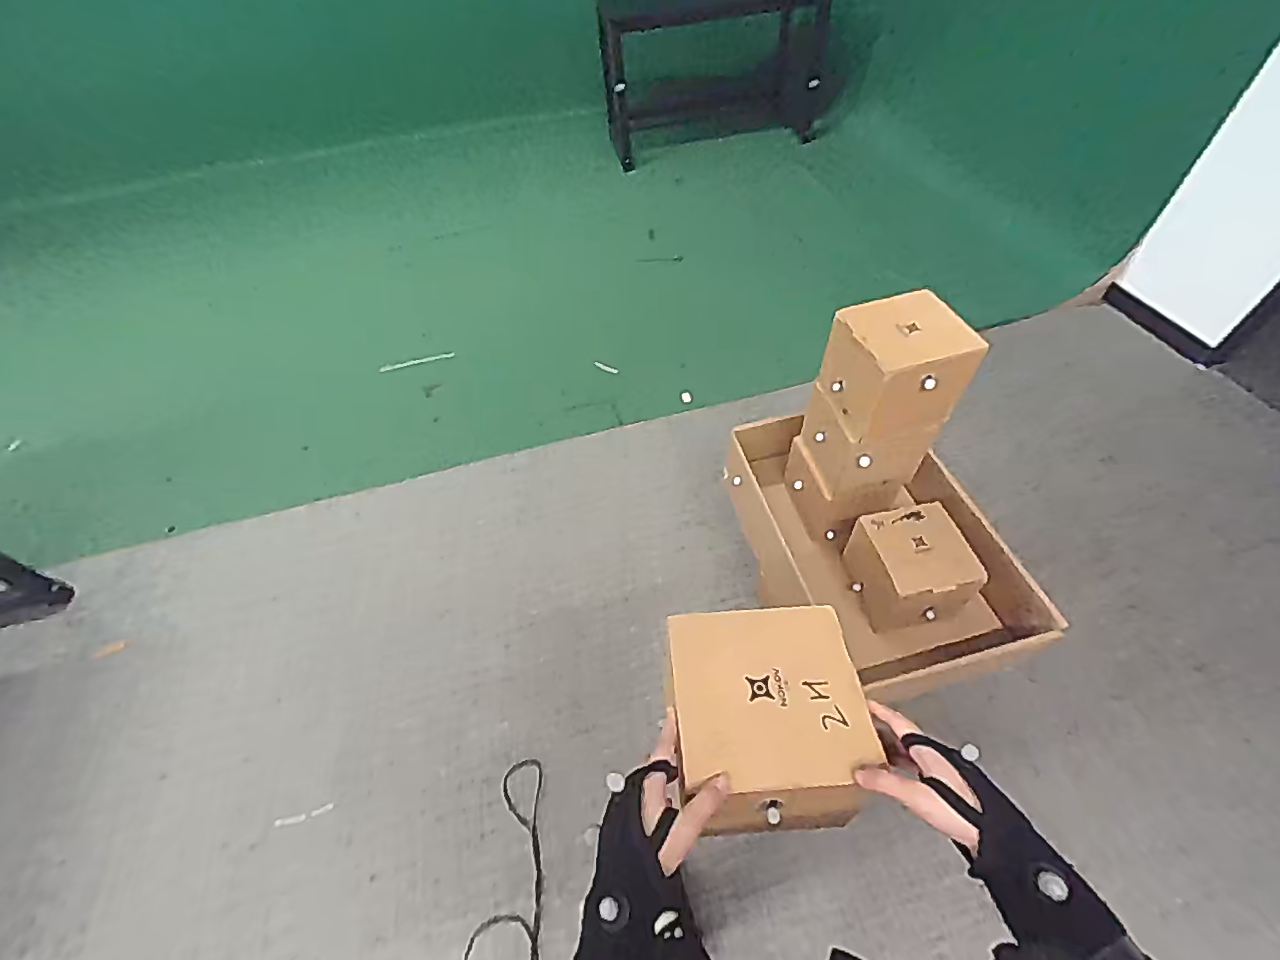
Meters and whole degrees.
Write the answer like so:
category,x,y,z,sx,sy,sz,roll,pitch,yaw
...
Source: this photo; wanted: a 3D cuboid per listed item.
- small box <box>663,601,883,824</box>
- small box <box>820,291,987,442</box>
category,x,y,z,sx,sy,sz,roll,pitch,yaw
small box,0.115,0.241,0.557,0.179,0.176,0.168,-2,47,-1
small box,0.437,-0.192,0.932,0.179,0.176,0.168,-15,53,-6
